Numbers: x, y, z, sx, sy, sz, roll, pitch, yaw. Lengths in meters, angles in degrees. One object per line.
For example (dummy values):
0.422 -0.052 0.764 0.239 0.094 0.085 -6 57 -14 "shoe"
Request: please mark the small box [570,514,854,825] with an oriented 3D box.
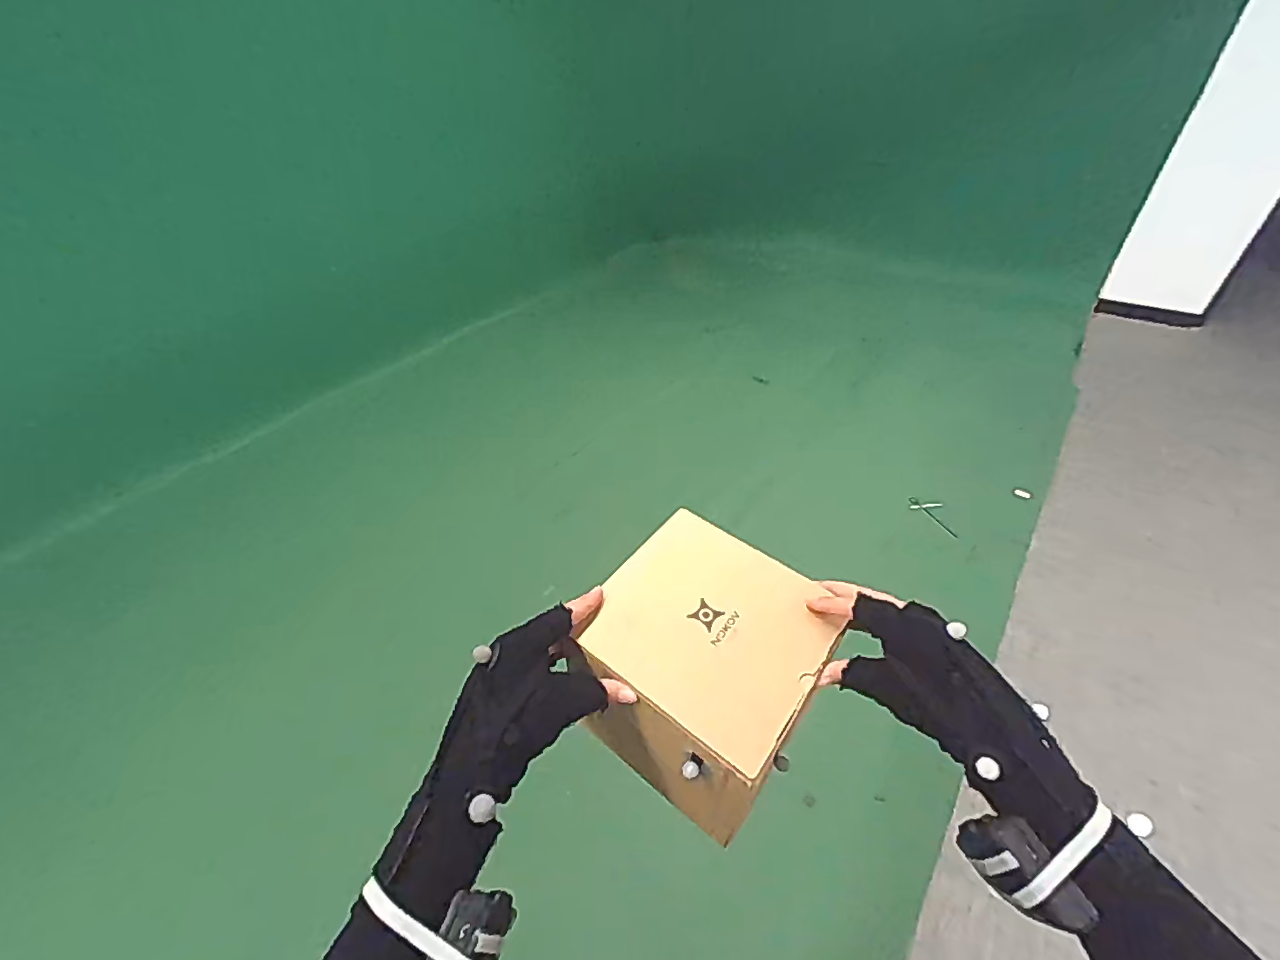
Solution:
0.057 0.170 0.491 0.179 0.176 0.168 30 51 25 "small box"
